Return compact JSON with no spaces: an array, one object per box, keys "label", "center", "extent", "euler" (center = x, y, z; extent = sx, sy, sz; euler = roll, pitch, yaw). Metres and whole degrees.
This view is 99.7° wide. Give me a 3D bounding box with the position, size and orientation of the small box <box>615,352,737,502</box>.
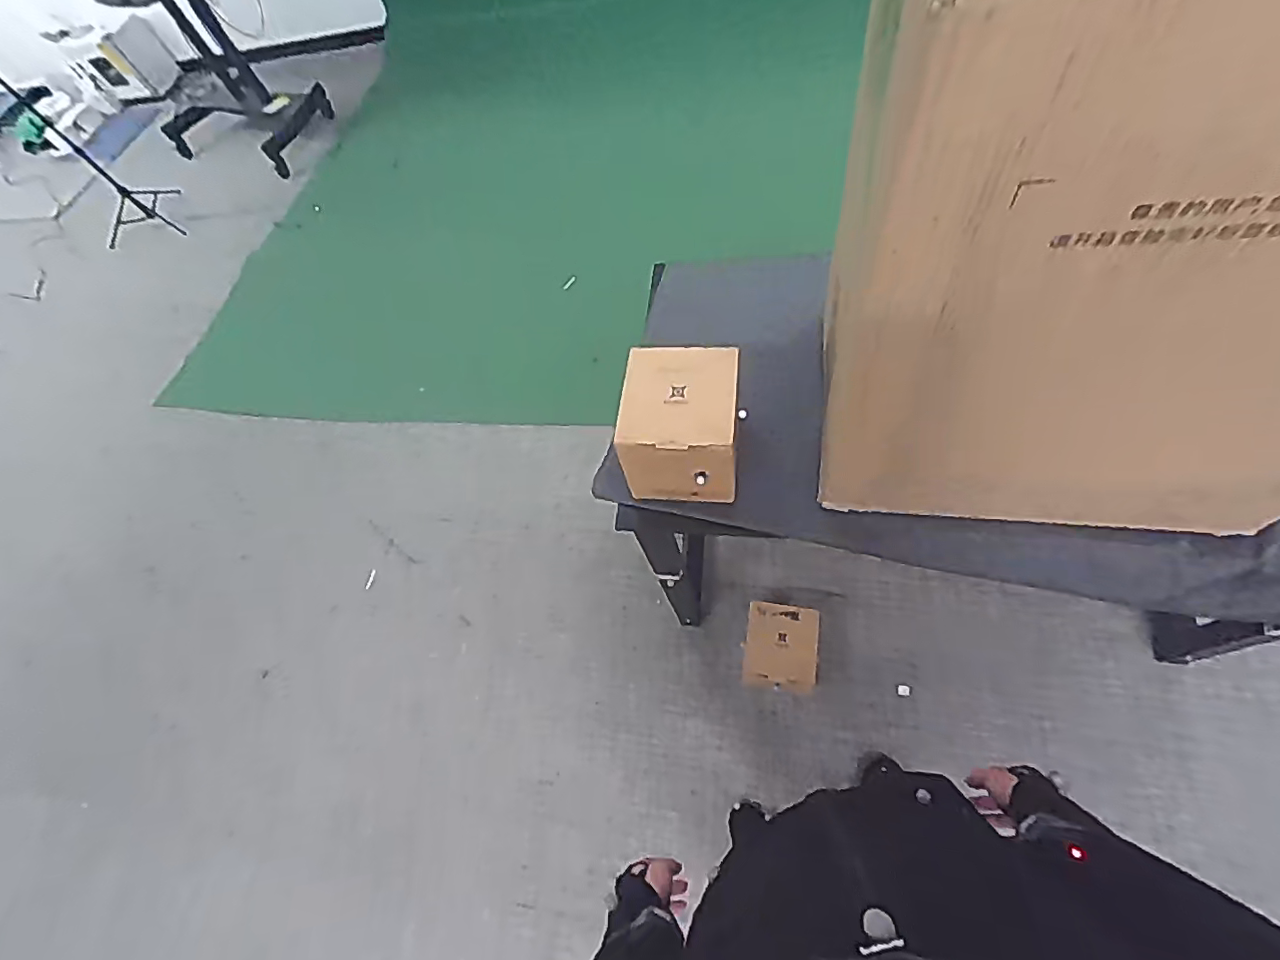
[{"label":"small box","center":[0.066,-0.078,0.851],"extent":[0.168,0.176,0.179],"euler":[2,59,10]}]
